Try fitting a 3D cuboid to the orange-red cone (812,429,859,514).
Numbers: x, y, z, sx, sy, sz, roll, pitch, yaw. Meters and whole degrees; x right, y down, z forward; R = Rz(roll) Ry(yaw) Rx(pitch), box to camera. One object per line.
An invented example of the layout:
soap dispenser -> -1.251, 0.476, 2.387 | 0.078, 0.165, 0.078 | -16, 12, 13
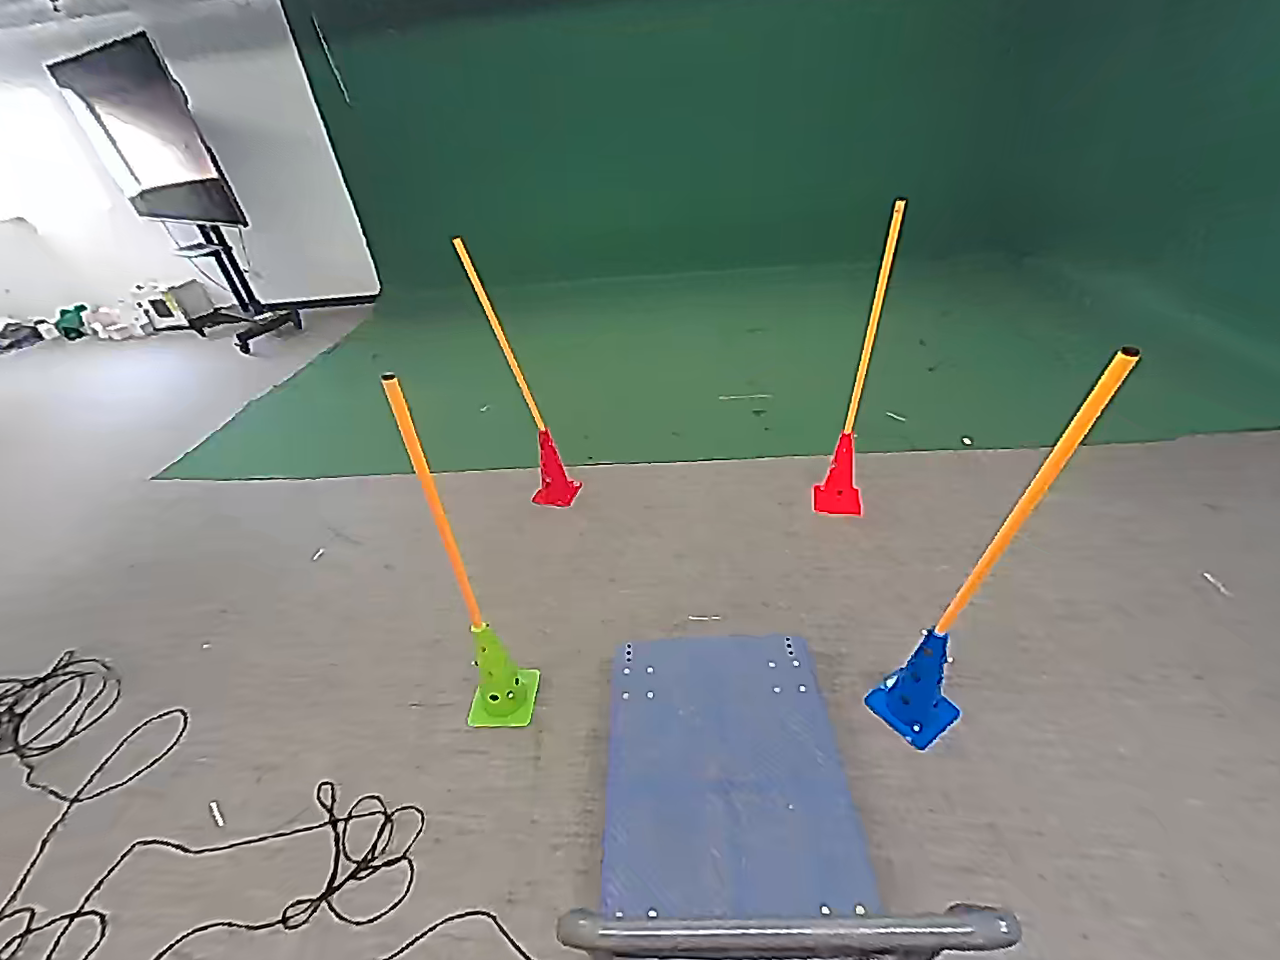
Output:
orange-red cone -> 0.848, -0.053, 2.294 | 0.198, 0.360, 0.199 | 4, 38, 15
